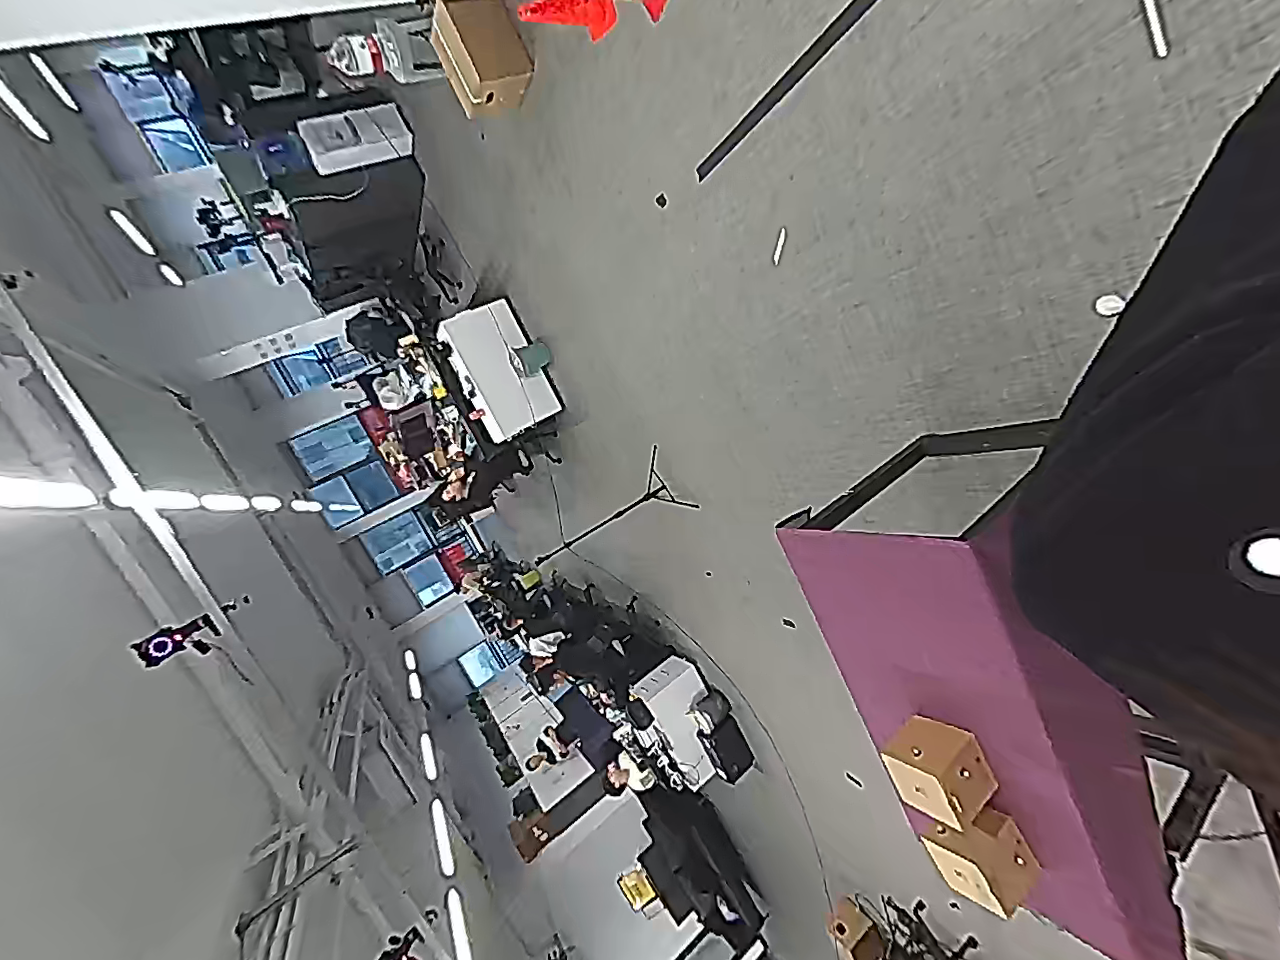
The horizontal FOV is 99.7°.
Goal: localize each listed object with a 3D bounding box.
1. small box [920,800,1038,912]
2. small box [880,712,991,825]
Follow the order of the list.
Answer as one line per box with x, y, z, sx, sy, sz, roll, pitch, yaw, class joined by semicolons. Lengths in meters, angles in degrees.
0.905;0.979;1.444;0.168;0.176;0.179;59;157;-1;small box
0.778;0.742;1.414;0.168;0.176;0.179;63;157;-7;small box
